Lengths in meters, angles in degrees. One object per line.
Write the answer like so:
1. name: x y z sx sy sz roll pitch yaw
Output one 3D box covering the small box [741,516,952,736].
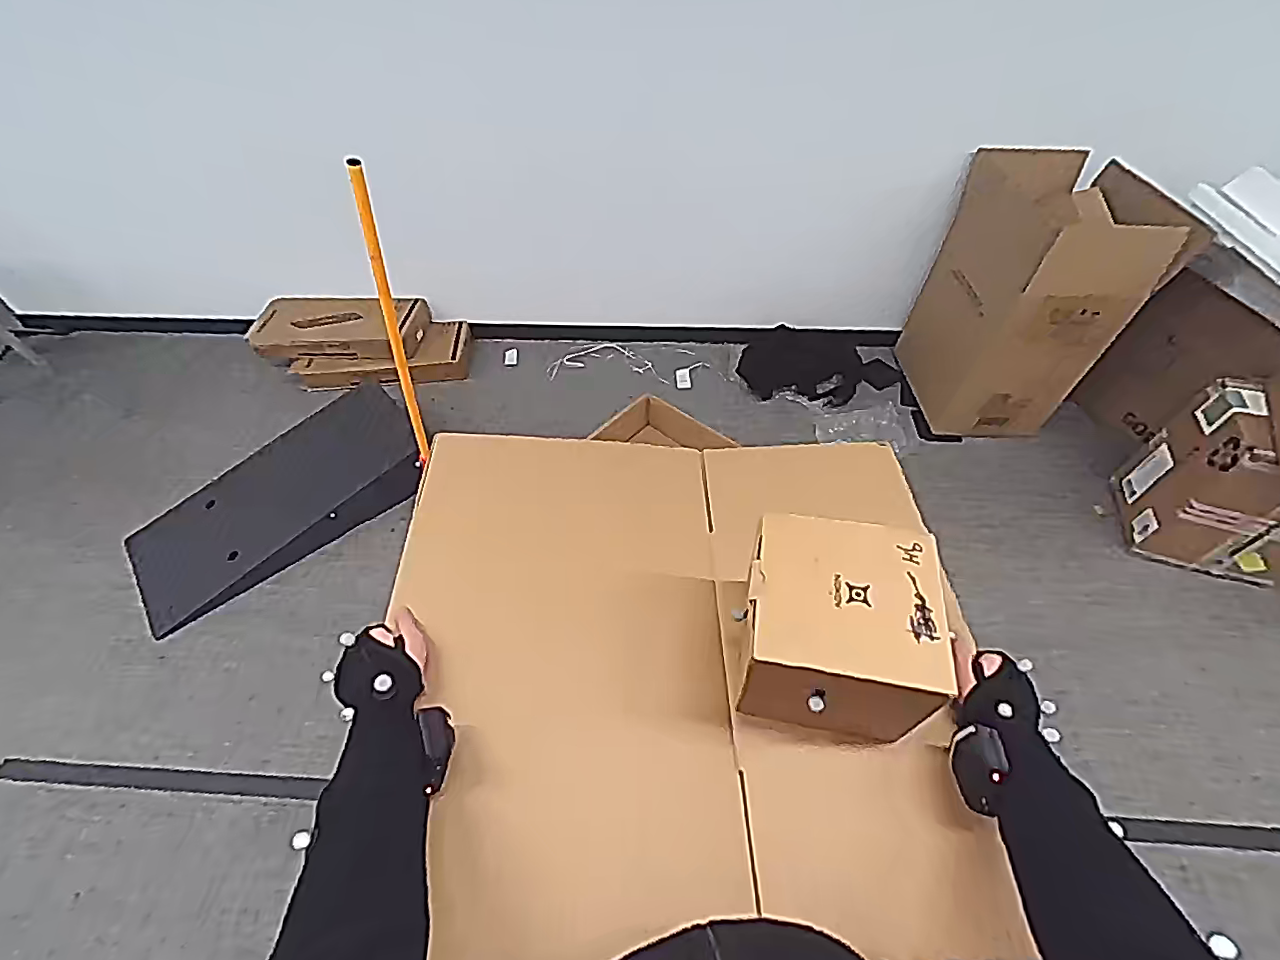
1. small box: 0.207 0.161 0.588 0.179 0.176 0.168 7 53 11
